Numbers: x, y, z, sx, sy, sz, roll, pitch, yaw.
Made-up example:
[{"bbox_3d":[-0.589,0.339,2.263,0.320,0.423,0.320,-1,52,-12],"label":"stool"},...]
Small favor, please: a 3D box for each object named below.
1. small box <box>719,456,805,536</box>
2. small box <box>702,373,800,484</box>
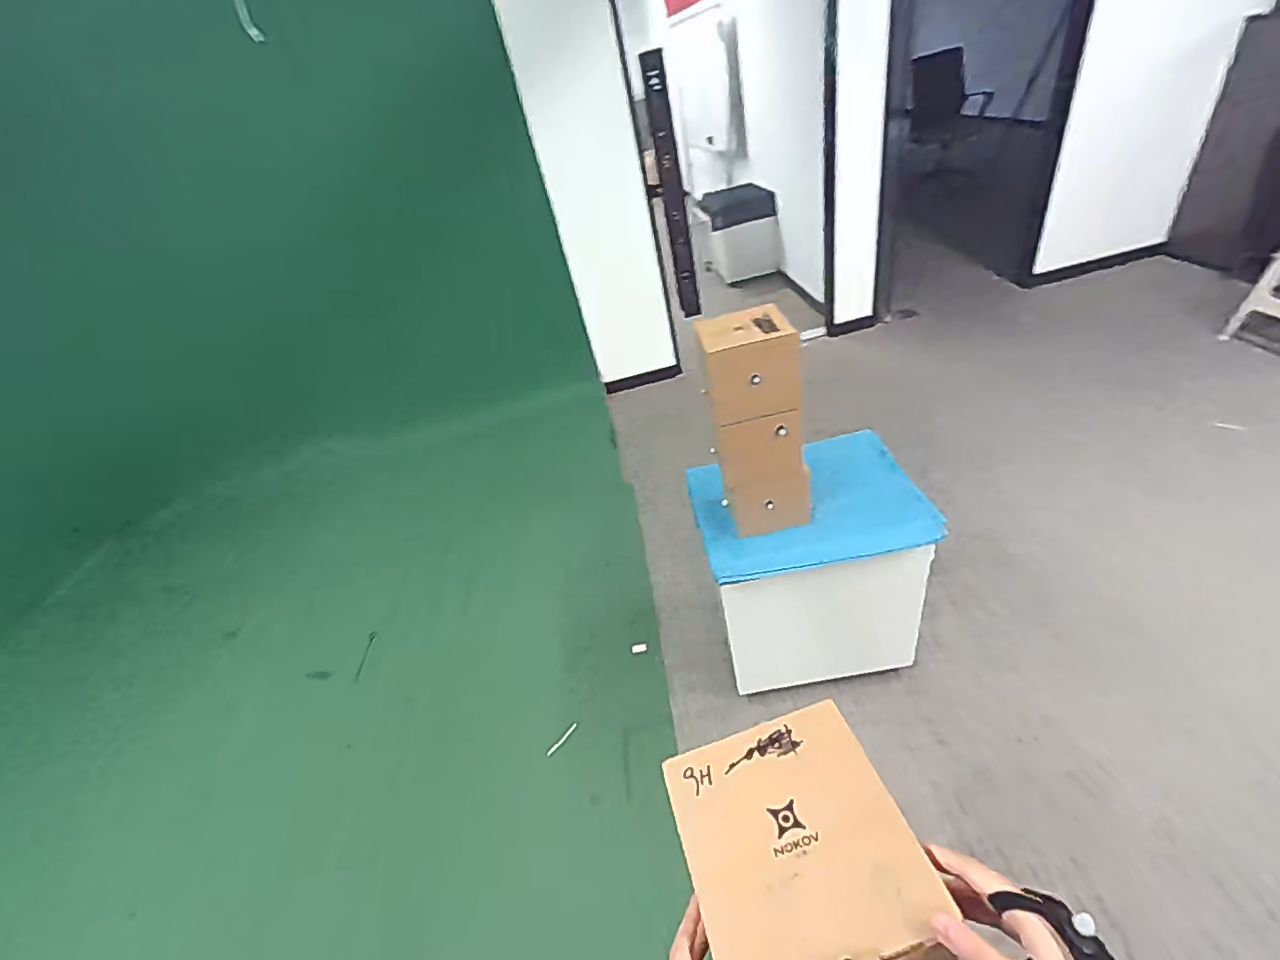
[{"bbox_3d":[0.290,0.011,1.311,0.179,0.176,0.168,-13,36,2],"label":"small box"},{"bbox_3d":[0.248,-0.114,1.213,0.179,0.176,0.168,-13,36,2],"label":"small box"}]
